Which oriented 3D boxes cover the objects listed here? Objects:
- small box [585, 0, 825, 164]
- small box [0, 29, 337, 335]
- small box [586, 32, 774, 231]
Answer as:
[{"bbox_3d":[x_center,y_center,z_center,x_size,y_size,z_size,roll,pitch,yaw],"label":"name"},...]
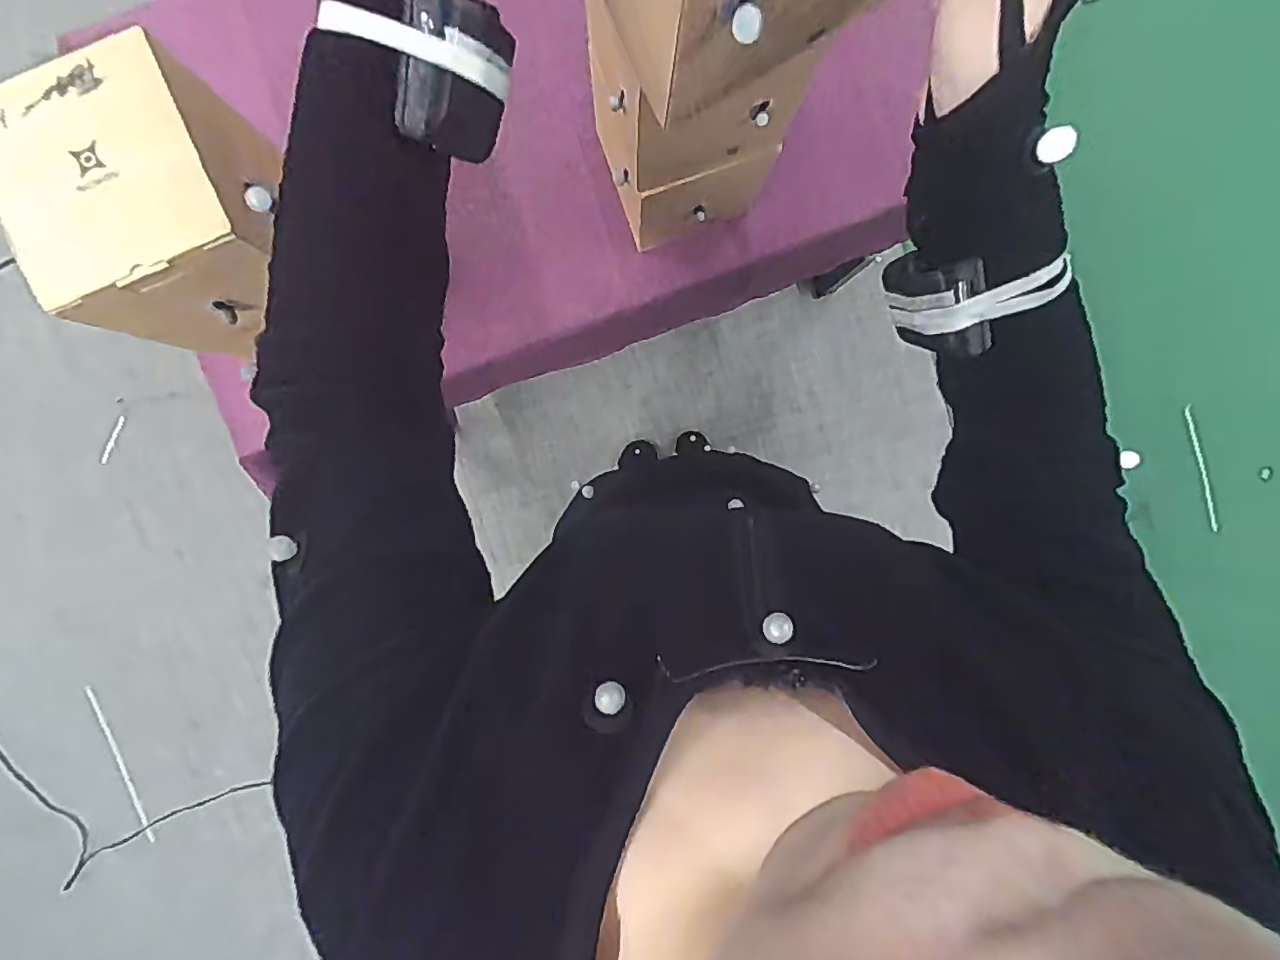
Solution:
[{"bbox_3d":[0.046,-0.432,0.506,0.168,0.176,0.179,-19,92,0],"label":"small box"},{"bbox_3d":[-0.431,-0.252,0.513,0.168,0.176,0.179,-24,92,-1],"label":"small box"},{"bbox_3d":[0.045,-0.435,0.670,0.168,0.176,0.179,-20,92,0],"label":"small box"}]
